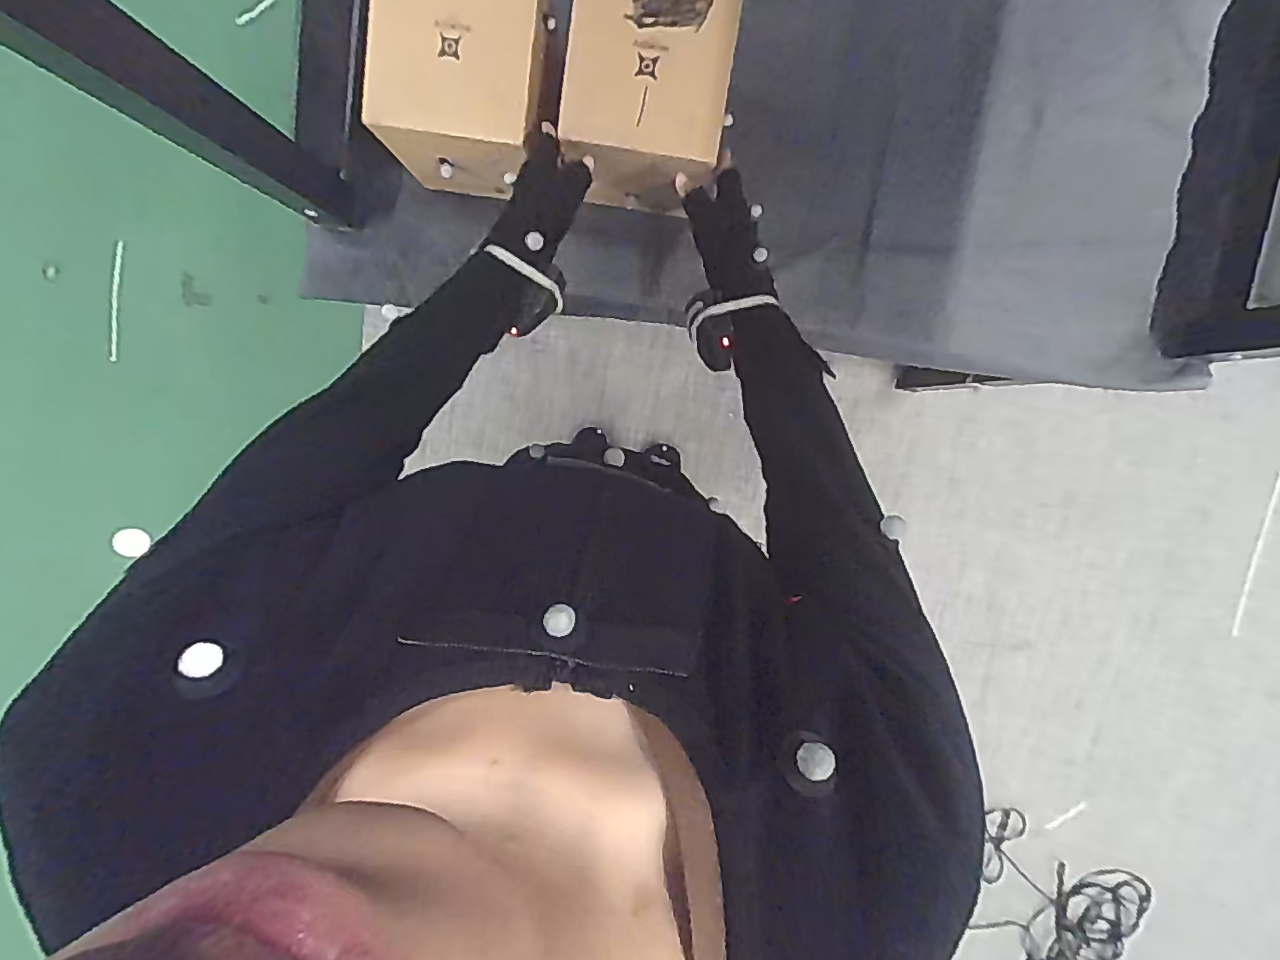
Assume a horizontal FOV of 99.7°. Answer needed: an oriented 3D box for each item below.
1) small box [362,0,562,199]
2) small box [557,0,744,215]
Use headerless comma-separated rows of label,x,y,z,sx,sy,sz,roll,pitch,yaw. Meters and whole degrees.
small box,-0.186,-0.444,0.609,0.168,0.176,0.179,8,97,-1
small box,0.010,-0.429,0.609,0.168,0.176,0.179,9,98,0
